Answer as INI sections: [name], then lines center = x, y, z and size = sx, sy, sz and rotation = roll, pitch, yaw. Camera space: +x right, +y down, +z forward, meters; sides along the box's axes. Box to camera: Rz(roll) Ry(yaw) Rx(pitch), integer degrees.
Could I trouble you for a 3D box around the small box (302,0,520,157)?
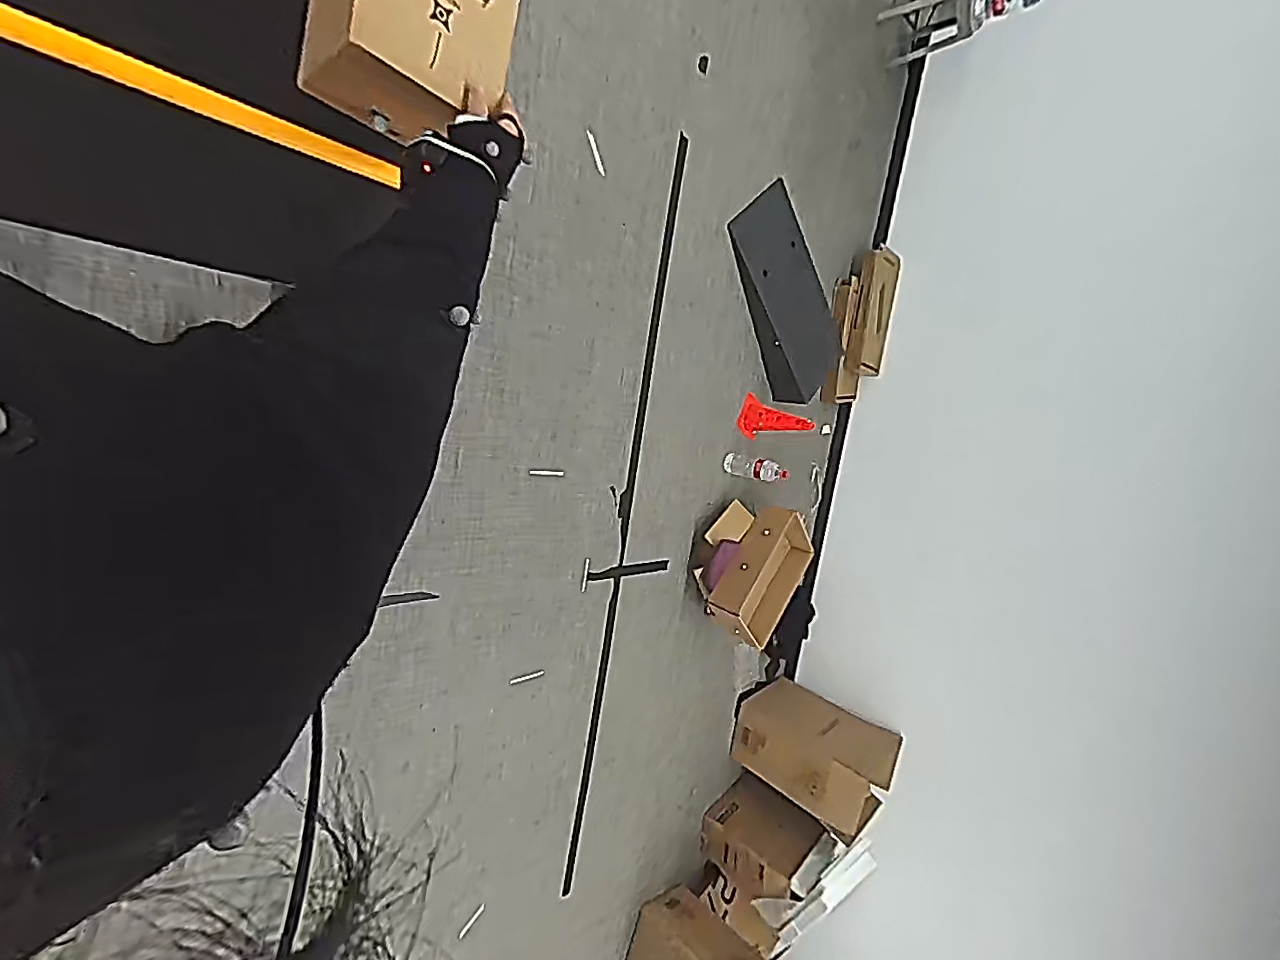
[small box]
center = -0.266, -0.515, 0.625
size = 0.168, 0.176, 0.179
rotation = 8, 96, -48
